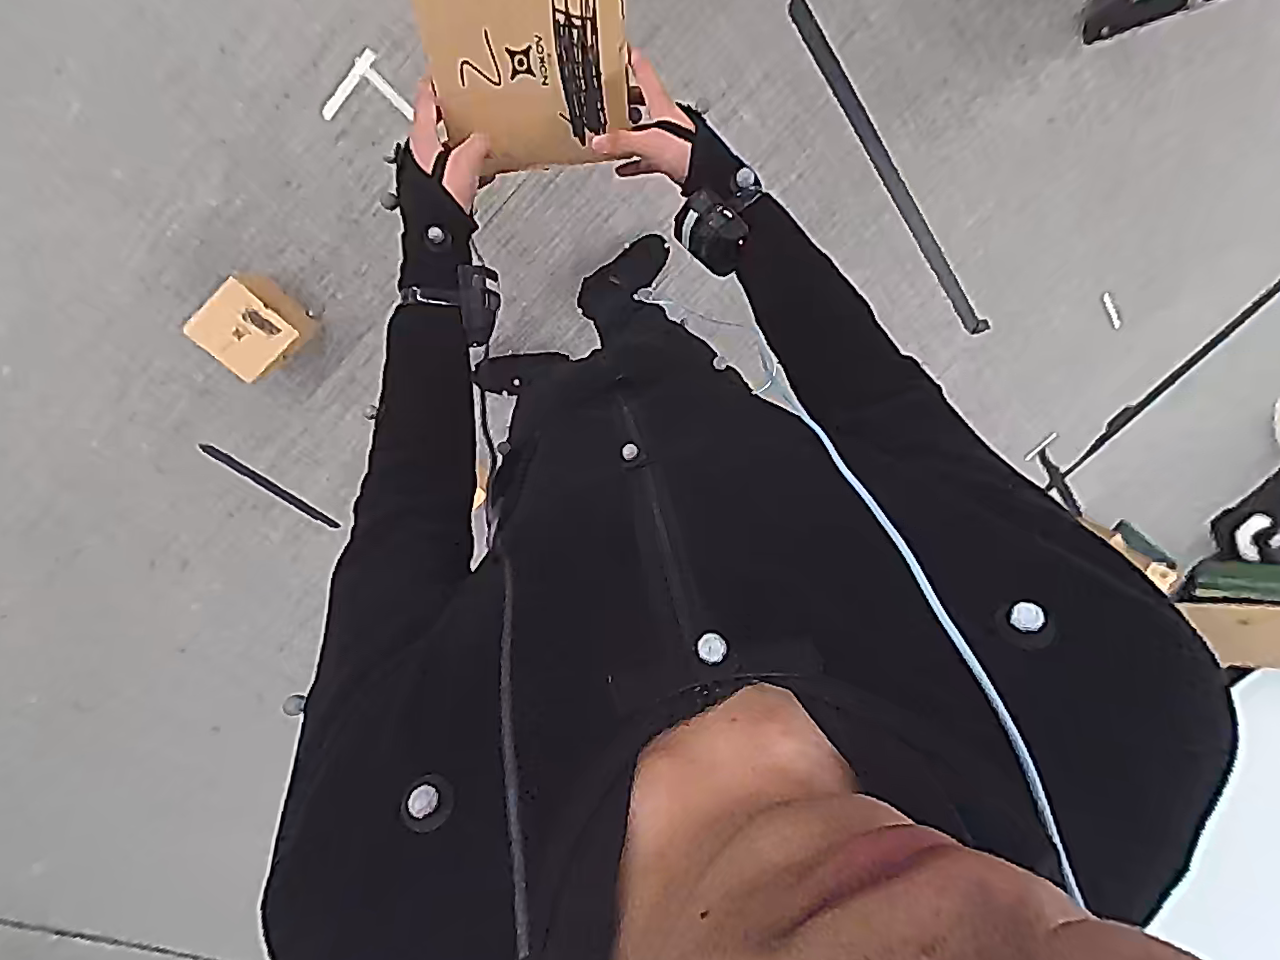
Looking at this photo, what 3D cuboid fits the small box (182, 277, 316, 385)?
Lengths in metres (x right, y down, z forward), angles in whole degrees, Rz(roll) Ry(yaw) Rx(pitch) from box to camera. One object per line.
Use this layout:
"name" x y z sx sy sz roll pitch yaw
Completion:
"small box" -0.903 -0.357 1.273 0.179 0.176 0.168 -41 115 7
